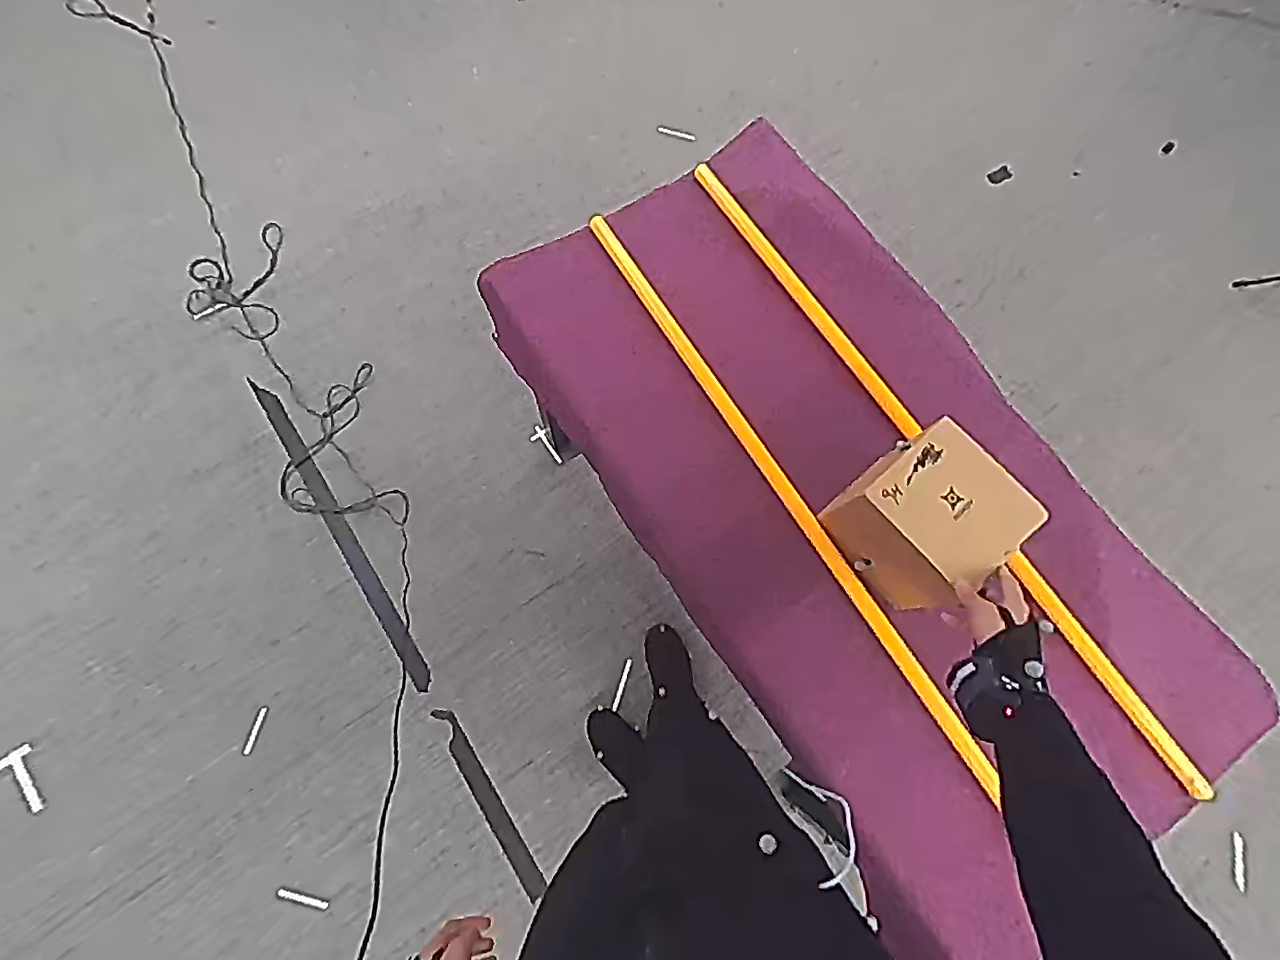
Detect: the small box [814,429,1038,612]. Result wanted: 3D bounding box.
[{"bbox_3d":[0.379,0.064,0.750,0.168,0.176,0.179,-38,81,-13],"label":"small box"}]
